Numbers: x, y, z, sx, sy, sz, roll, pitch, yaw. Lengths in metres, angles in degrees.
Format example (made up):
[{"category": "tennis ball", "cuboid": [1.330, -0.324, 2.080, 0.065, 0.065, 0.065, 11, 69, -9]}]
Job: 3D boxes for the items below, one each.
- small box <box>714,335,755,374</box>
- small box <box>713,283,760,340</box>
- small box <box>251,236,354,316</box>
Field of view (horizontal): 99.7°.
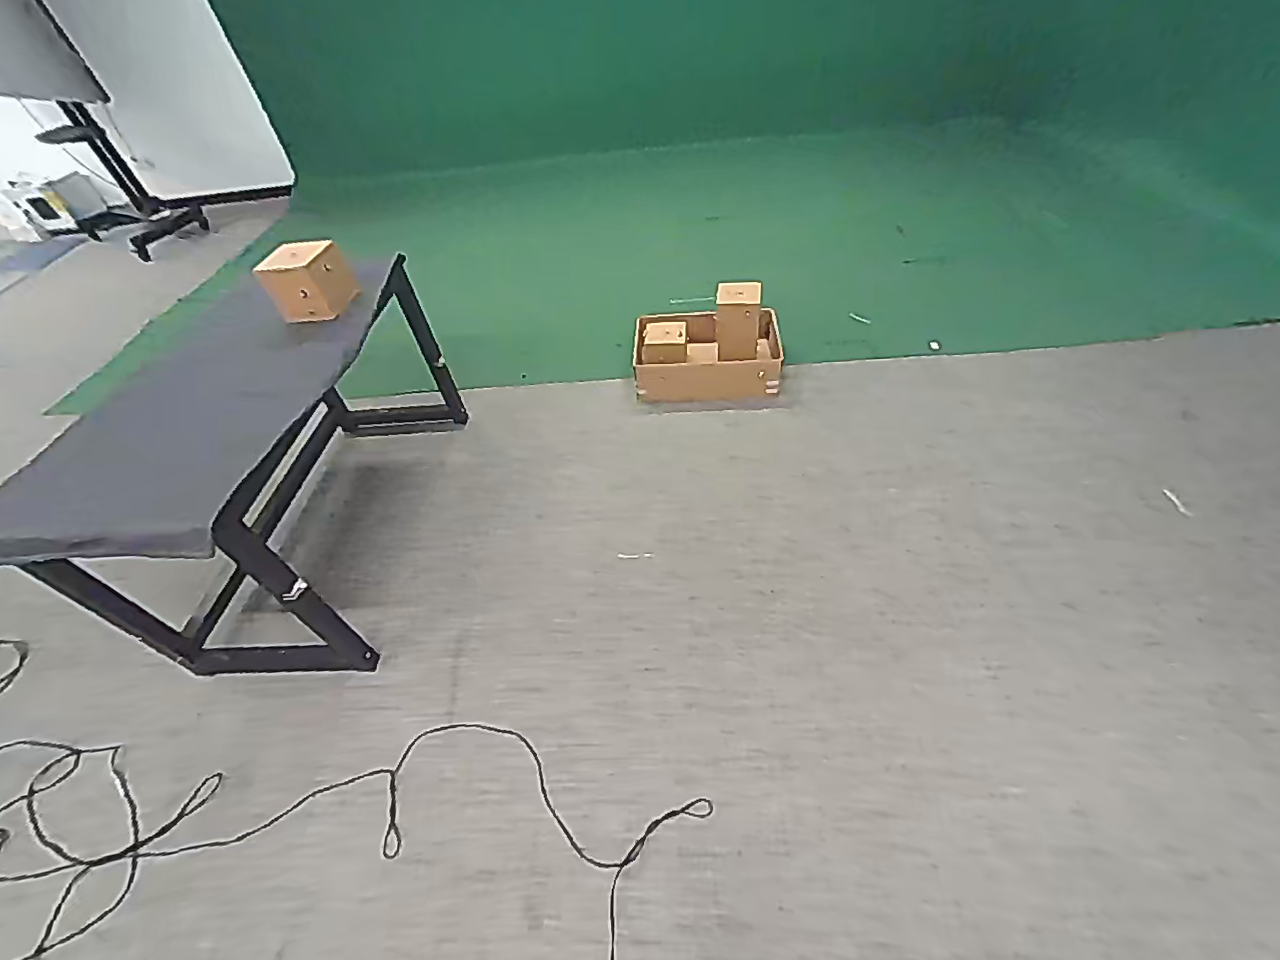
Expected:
[{"category": "small box", "cuboid": [0.413, -0.587, 2.359, 0.168, 0.176, 0.179, 3, 50, 11]}, {"category": "small box", "cuboid": [0.397, -0.694, 2.235, 0.179, 0.176, 0.168, 4, 48, 11]}, {"category": "small box", "cuboid": [-0.992, -0.602, 1.610, 0.168, 0.176, 0.179, 0, 46, 7]}]
